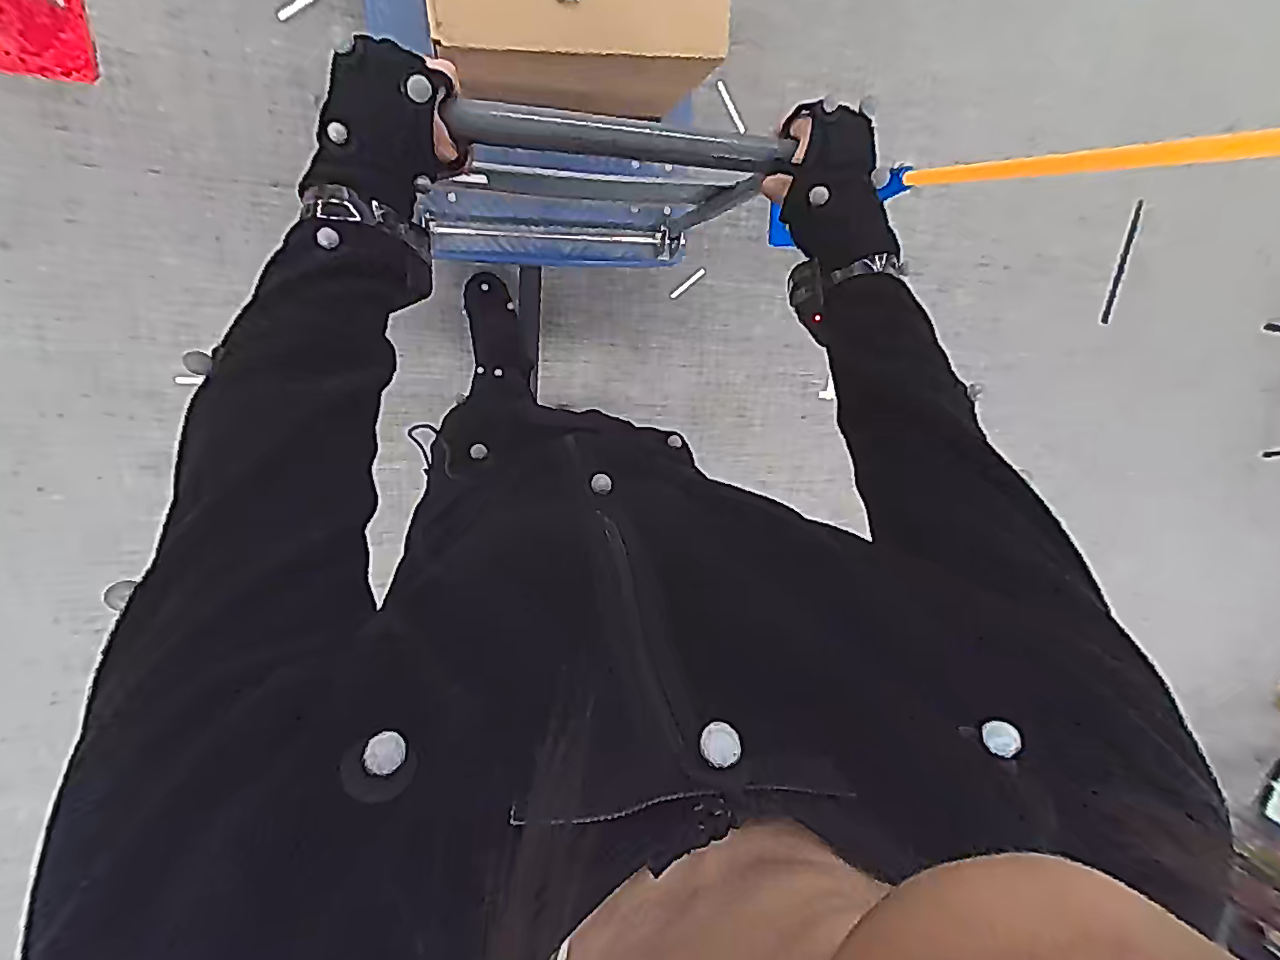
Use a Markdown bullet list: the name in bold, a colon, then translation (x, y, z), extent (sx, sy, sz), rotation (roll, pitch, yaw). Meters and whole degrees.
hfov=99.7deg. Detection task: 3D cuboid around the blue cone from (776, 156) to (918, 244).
- **blue cone**: translation (0.477, -0.656, 1.224), extent (0.193, 0.380, 0.192), rotation (-5, 109, -15)
